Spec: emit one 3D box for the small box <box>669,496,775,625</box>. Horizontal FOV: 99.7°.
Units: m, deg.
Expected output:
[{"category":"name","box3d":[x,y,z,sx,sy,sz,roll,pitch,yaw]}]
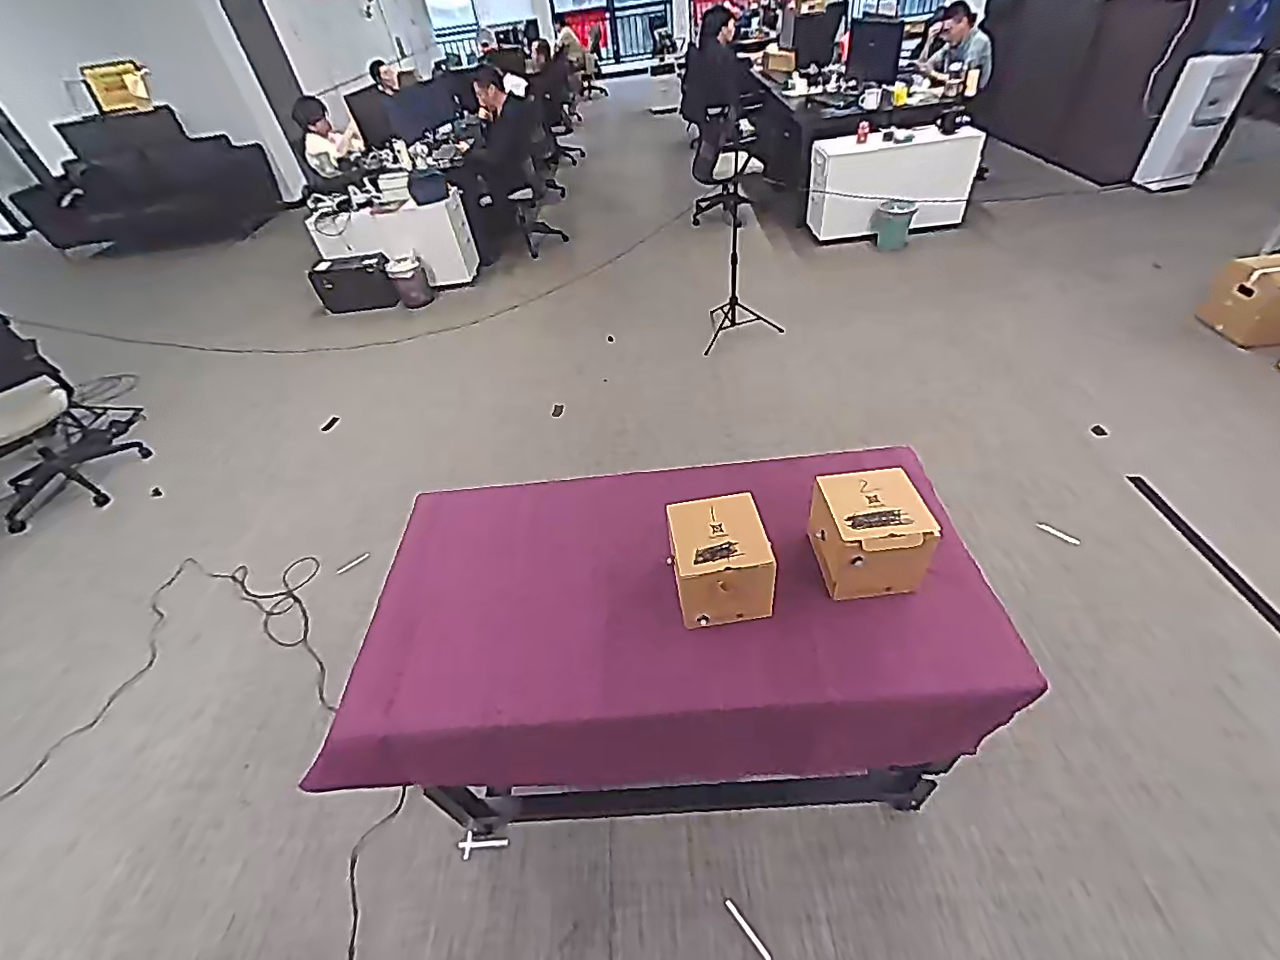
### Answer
[{"category":"small box","box3d":[0.152,0.159,1.026,0.168,0.176,0.179,-8,42,0]}]
